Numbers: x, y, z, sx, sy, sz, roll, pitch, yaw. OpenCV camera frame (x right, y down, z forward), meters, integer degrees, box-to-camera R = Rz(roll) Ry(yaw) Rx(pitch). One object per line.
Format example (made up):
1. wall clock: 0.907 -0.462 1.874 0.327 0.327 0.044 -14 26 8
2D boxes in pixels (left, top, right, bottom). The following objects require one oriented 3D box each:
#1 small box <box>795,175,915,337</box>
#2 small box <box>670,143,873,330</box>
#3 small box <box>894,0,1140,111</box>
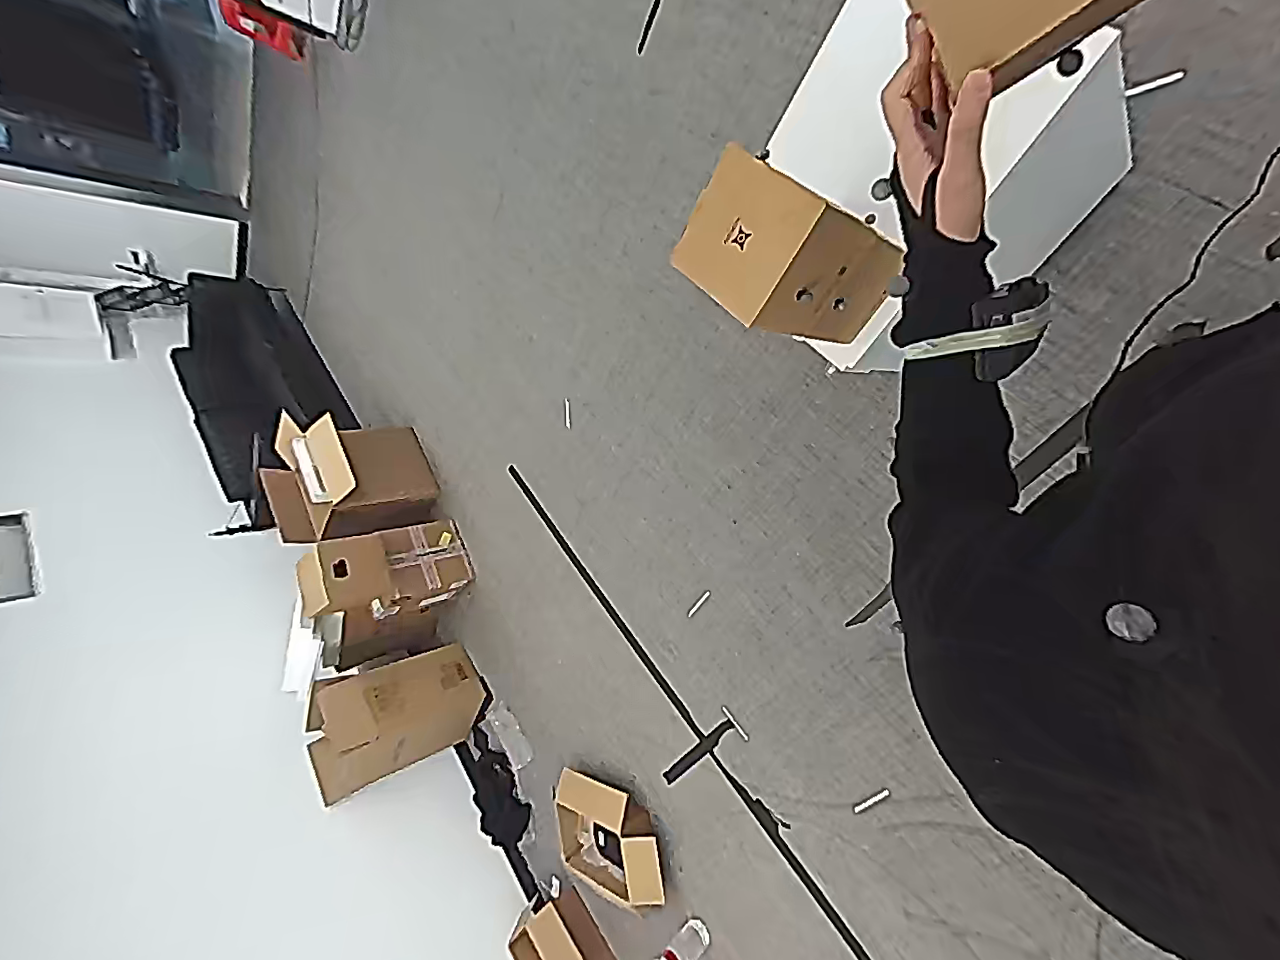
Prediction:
1. small box: 0.293 -0.344 0.862 0.179 0.176 0.168 51 128 26
2. small box: 0.181 -0.322 0.744 0.179 0.176 0.168 50 127 27
3. small box: 0.234 -0.360 0.320 0.168 0.176 0.179 -23 102 38
